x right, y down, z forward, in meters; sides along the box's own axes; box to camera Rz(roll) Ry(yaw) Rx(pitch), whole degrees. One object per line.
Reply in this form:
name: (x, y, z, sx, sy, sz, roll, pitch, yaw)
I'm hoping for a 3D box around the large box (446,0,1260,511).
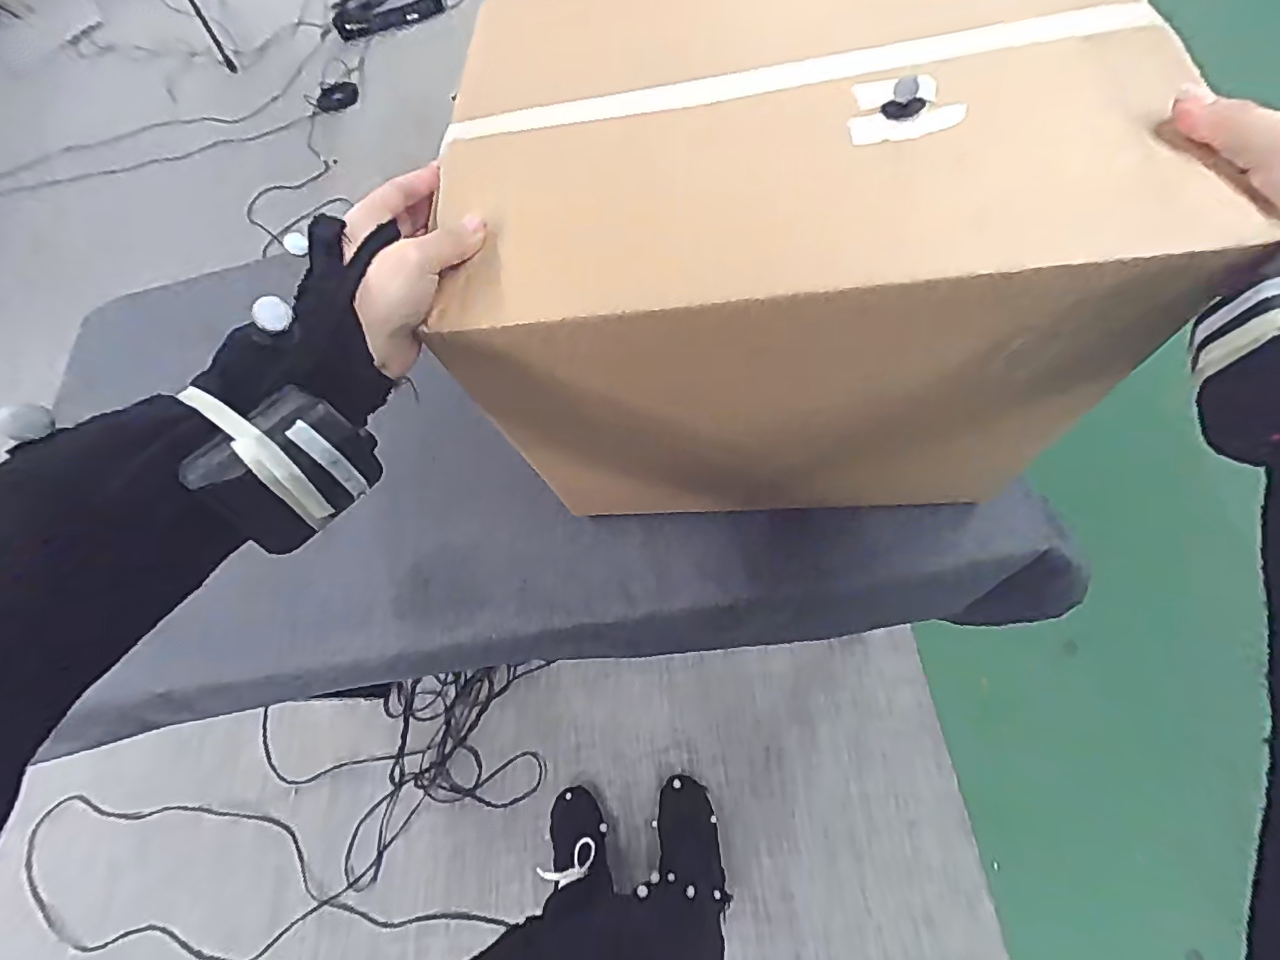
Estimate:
large box: (0.108, -0.175, 0.464, 0.408, 0.320, 0.320, -3, 67, 8)
